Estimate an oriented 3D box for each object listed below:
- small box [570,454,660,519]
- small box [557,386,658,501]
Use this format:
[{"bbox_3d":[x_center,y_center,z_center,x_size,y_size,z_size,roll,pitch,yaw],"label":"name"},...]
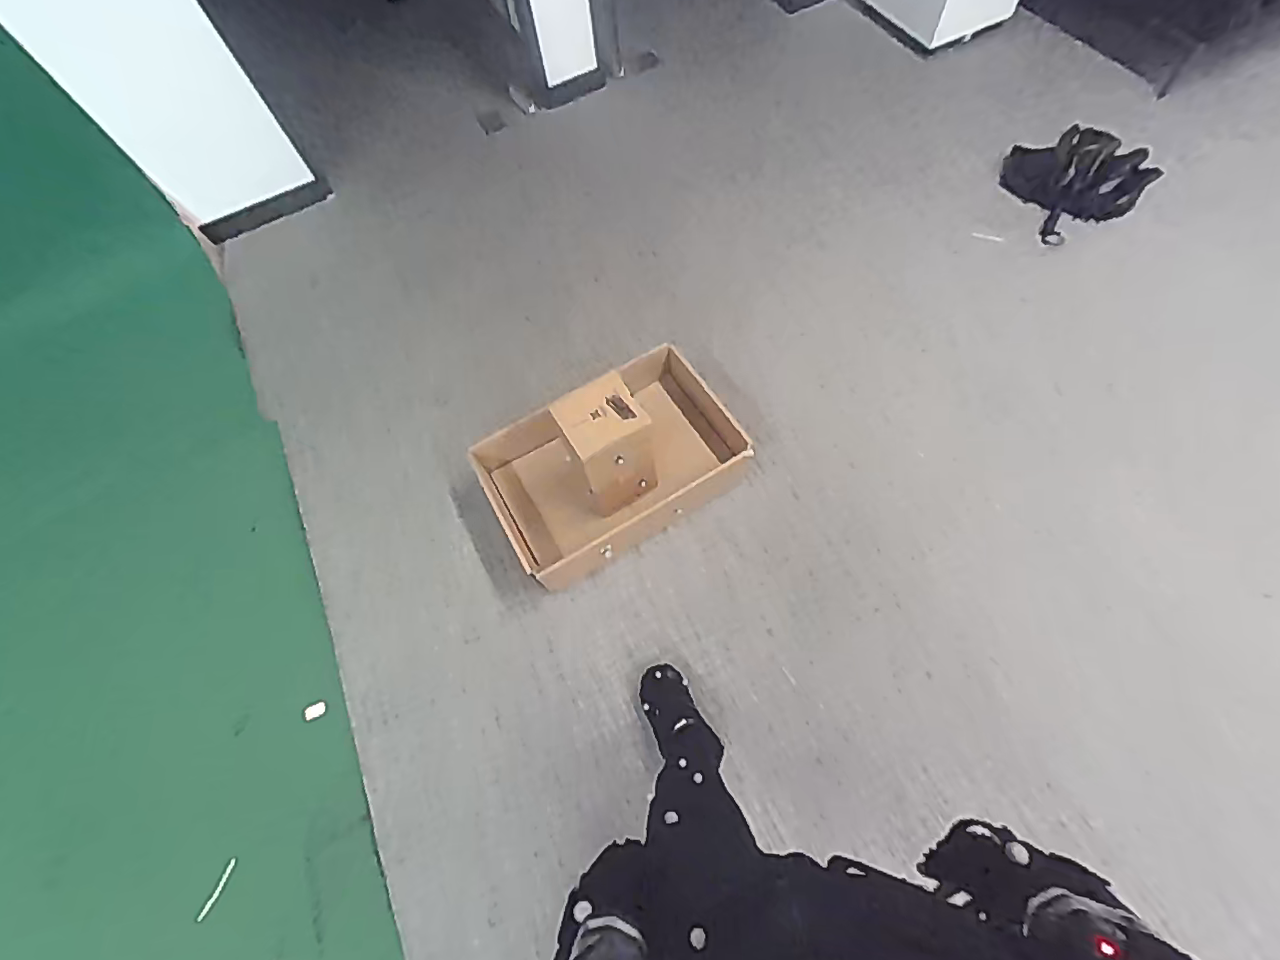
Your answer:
[{"bbox_3d":[-0.059,-0.019,1.393,0.168,0.176,0.179,-30,64,-10],"label":"small box"},{"bbox_3d":[-0.069,-0.081,1.259,0.179,0.176,0.168,-29,64,-9],"label":"small box"}]
